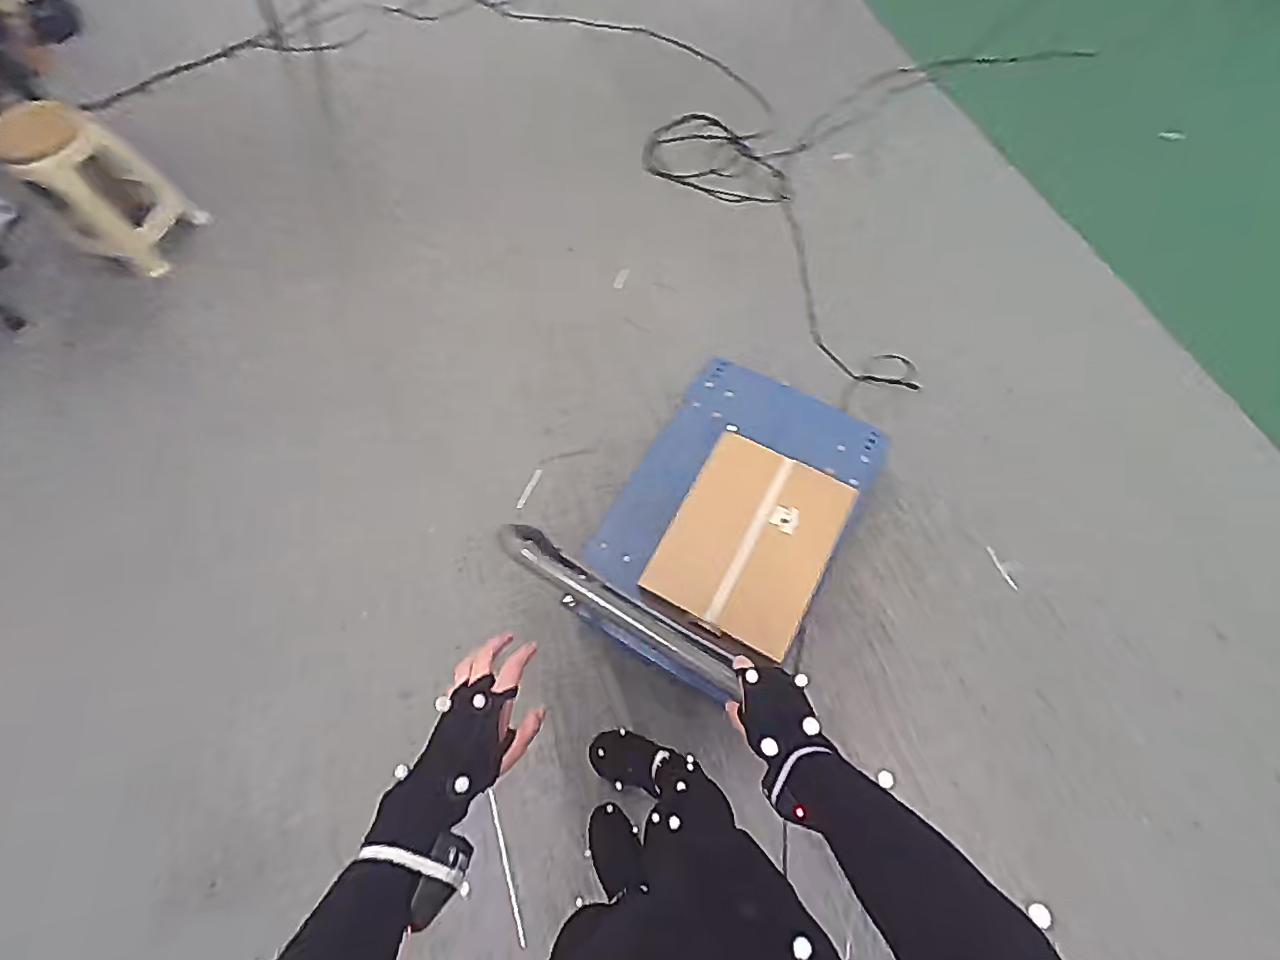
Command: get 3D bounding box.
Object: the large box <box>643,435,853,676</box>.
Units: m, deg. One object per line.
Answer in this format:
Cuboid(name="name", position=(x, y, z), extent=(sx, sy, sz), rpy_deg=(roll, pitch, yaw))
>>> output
Cuboid(name="large box", position=(0.232, 0.184, 1.248), extent=(0.320, 0.320, 0.408), rpy_deg=(27, 69, 12))
